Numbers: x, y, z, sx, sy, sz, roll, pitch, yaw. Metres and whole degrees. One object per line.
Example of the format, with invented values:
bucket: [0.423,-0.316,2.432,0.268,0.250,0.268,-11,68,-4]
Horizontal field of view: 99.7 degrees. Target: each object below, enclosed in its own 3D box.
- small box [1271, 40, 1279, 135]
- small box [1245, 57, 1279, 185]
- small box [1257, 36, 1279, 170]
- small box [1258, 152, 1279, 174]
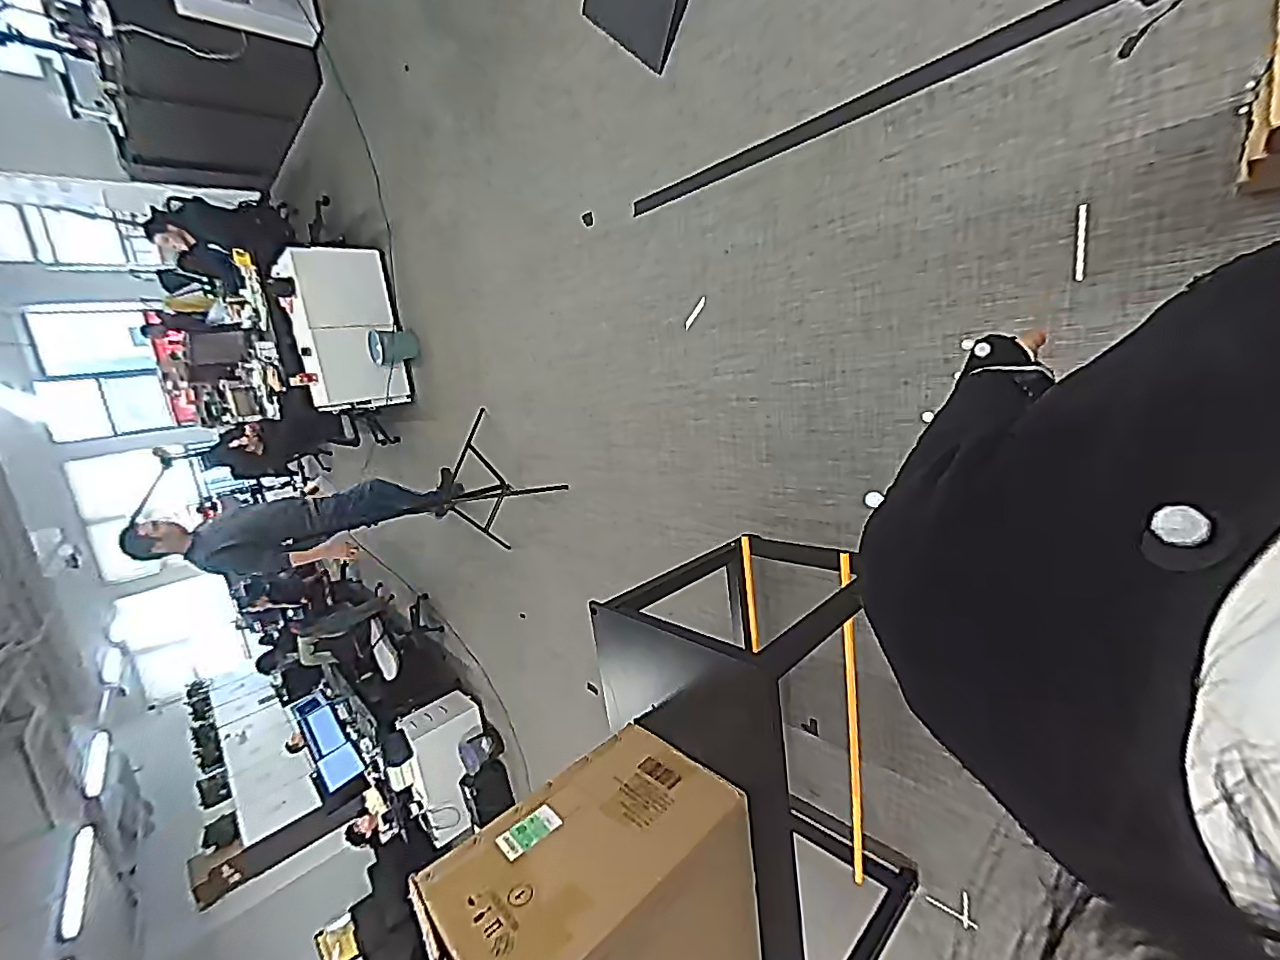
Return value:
small box: [0.721,-0.443,0.500,0.168,0.176,0.179,5,109,48]
small box: [1.069,-0.564,0.824,0.179,0.176,0.168,11,112,46]
small box: [0.837,-0.475,0.611,0.168,0.176,0.179,11,114,47]
small box: [0.954,-0.528,0.712,0.168,0.176,0.179,11,113,47]
